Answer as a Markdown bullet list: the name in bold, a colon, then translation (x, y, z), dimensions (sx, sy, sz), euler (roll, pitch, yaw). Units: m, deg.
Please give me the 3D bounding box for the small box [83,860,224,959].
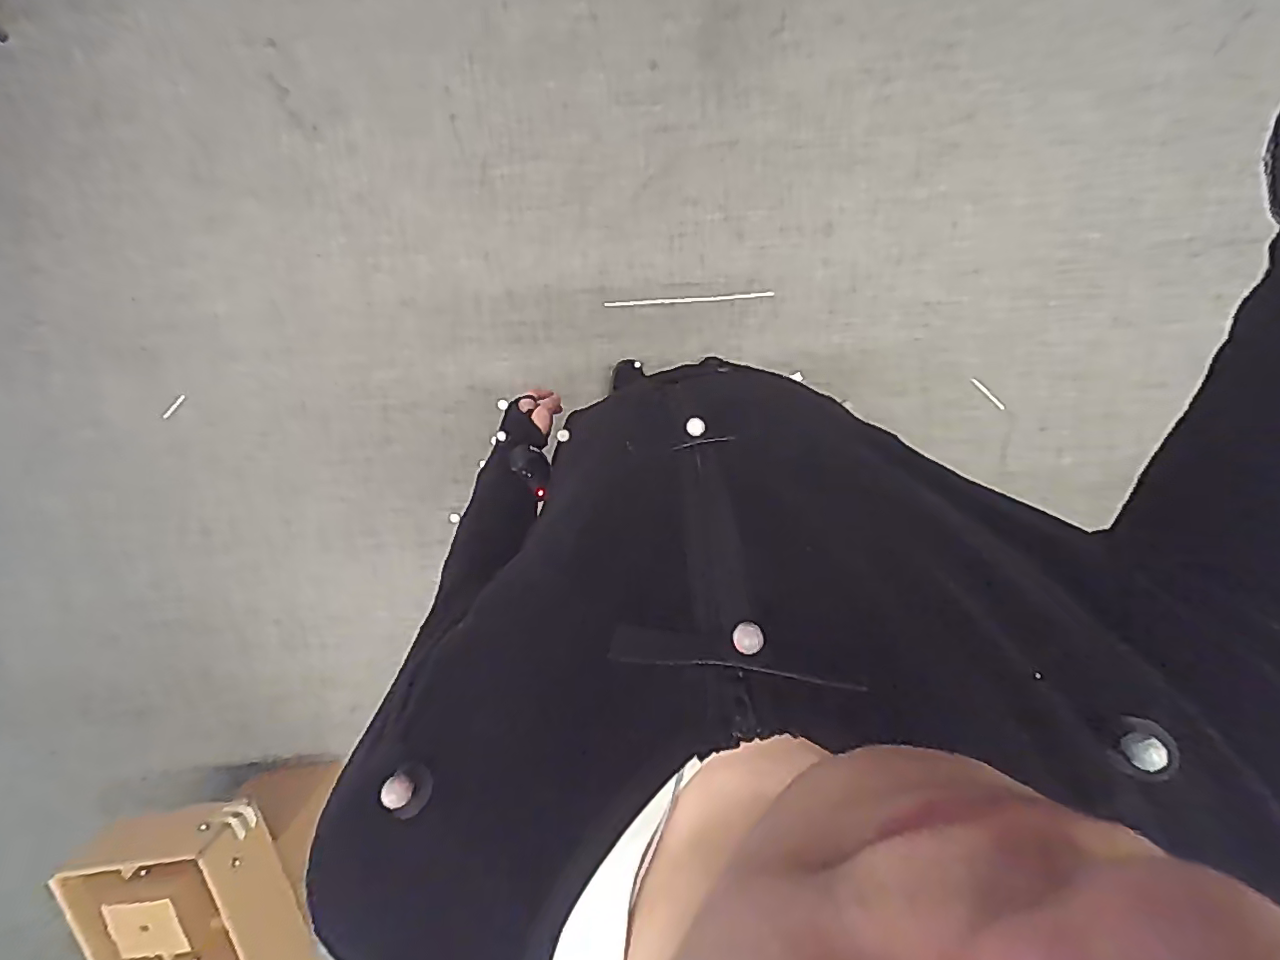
- **small box**: translation (-1.196, 1.087, 1.342), dimensions (0.179, 0.176, 0.168), euler (-7, 102, 1)
